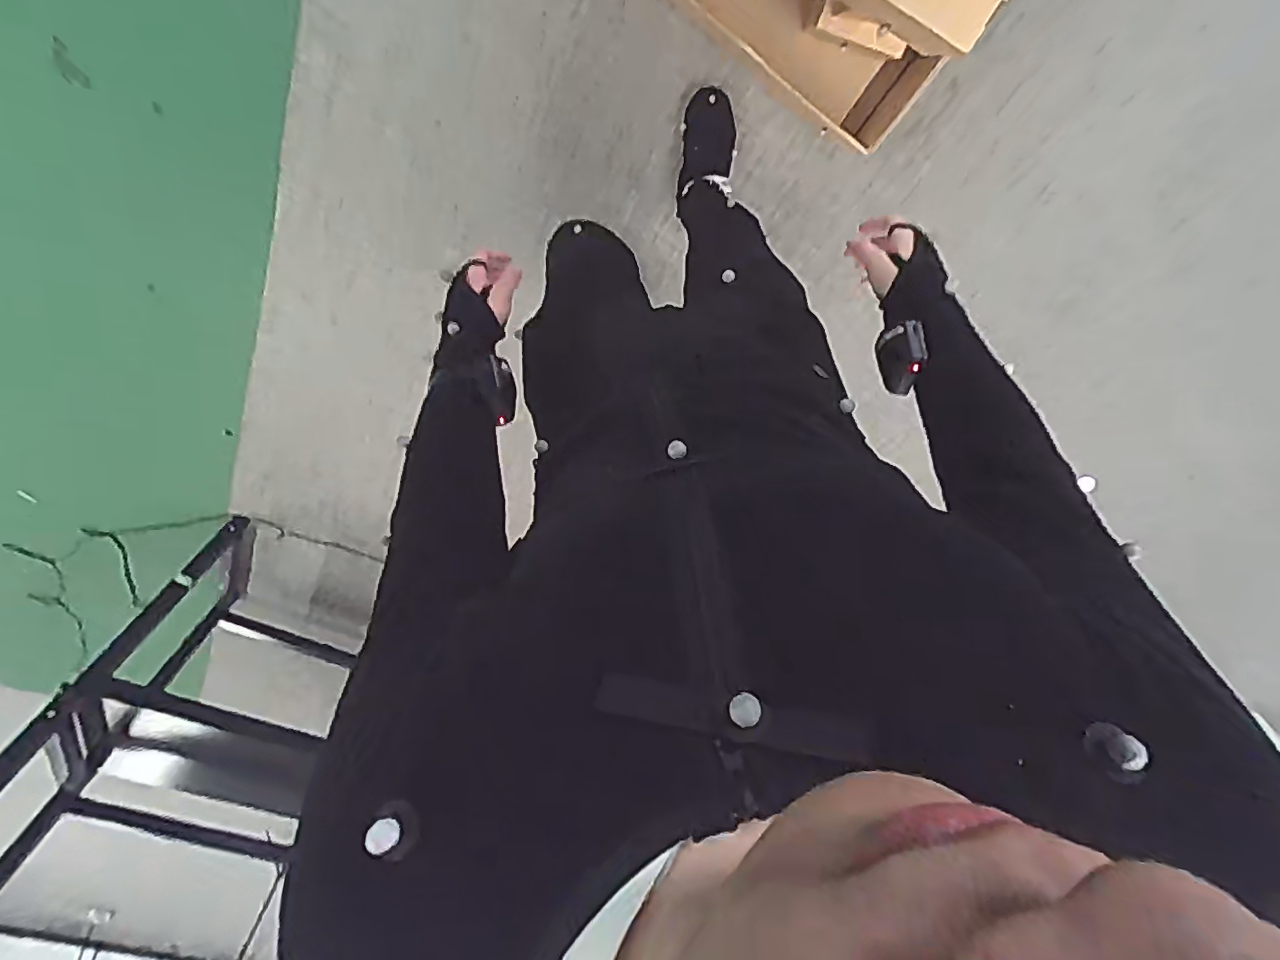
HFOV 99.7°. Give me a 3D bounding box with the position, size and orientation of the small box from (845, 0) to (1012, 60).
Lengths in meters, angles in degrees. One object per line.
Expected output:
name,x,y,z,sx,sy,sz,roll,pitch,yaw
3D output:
small box,0.397,-0.690,0.706,0.179,0.176,0.168,22,126,-13

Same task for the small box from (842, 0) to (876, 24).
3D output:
small box,0.423,-0.806,0.821,0.168,0.176,0.179,7,127,-1

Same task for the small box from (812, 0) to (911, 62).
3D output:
small box,0.424,-0.881,0.969,0.168,0.176,0.179,15,127,-7
